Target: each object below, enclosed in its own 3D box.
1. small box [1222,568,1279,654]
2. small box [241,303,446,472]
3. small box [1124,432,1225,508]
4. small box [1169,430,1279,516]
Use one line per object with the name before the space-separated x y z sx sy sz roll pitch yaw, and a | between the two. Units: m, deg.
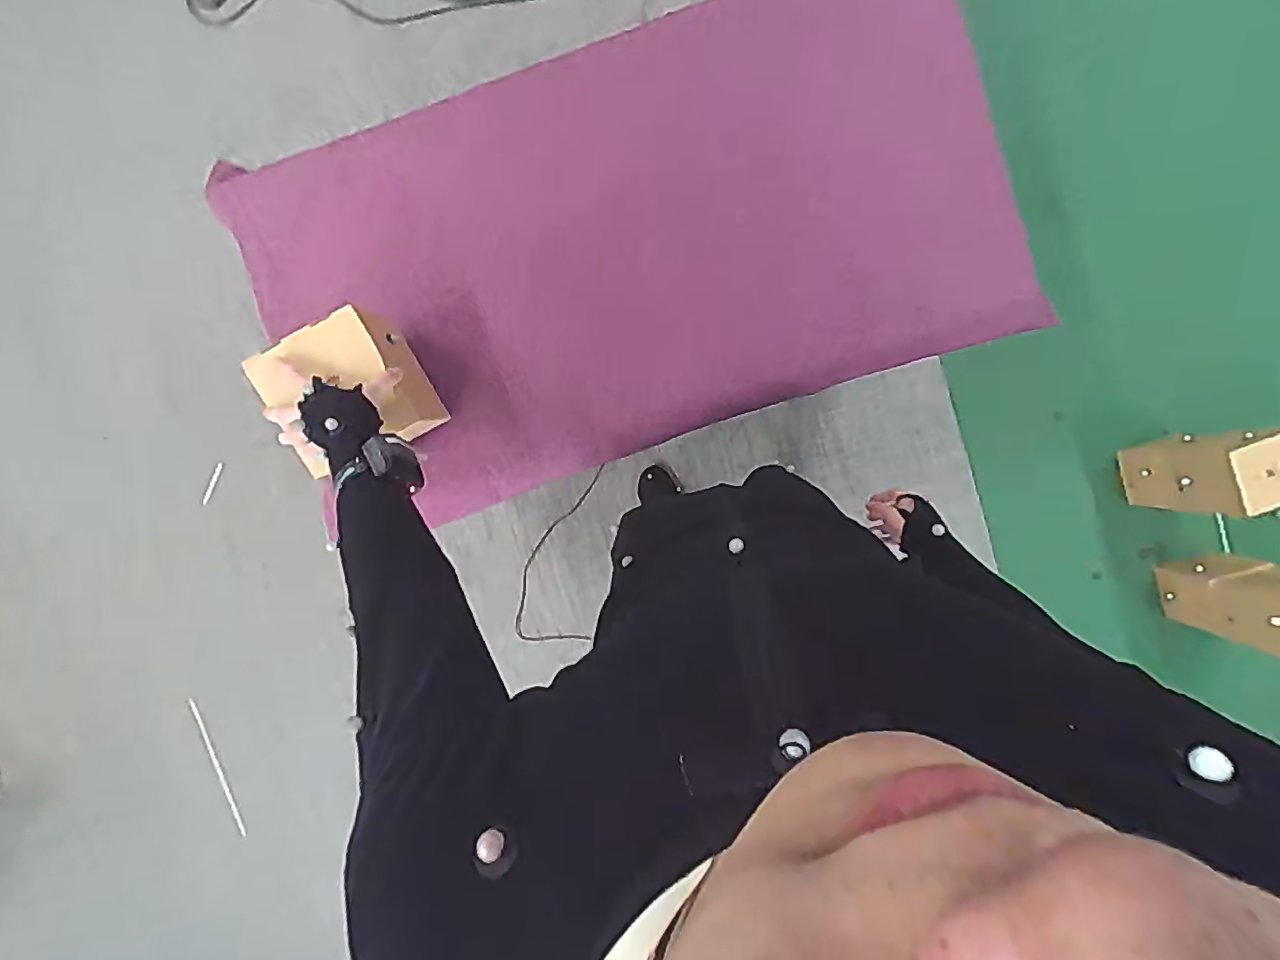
small box | 1.643 0.330 1.356 0.179 0.176 0.168 -14 94 2
small box | -0.415 -0.131 0.792 0.168 0.176 0.179 -28 100 -1
small box | 1.505 -0.027 1.504 0.179 0.176 0.168 -17 93 2
small box | 1.491 -0.023 1.340 0.179 0.176 0.168 -20 92 3
